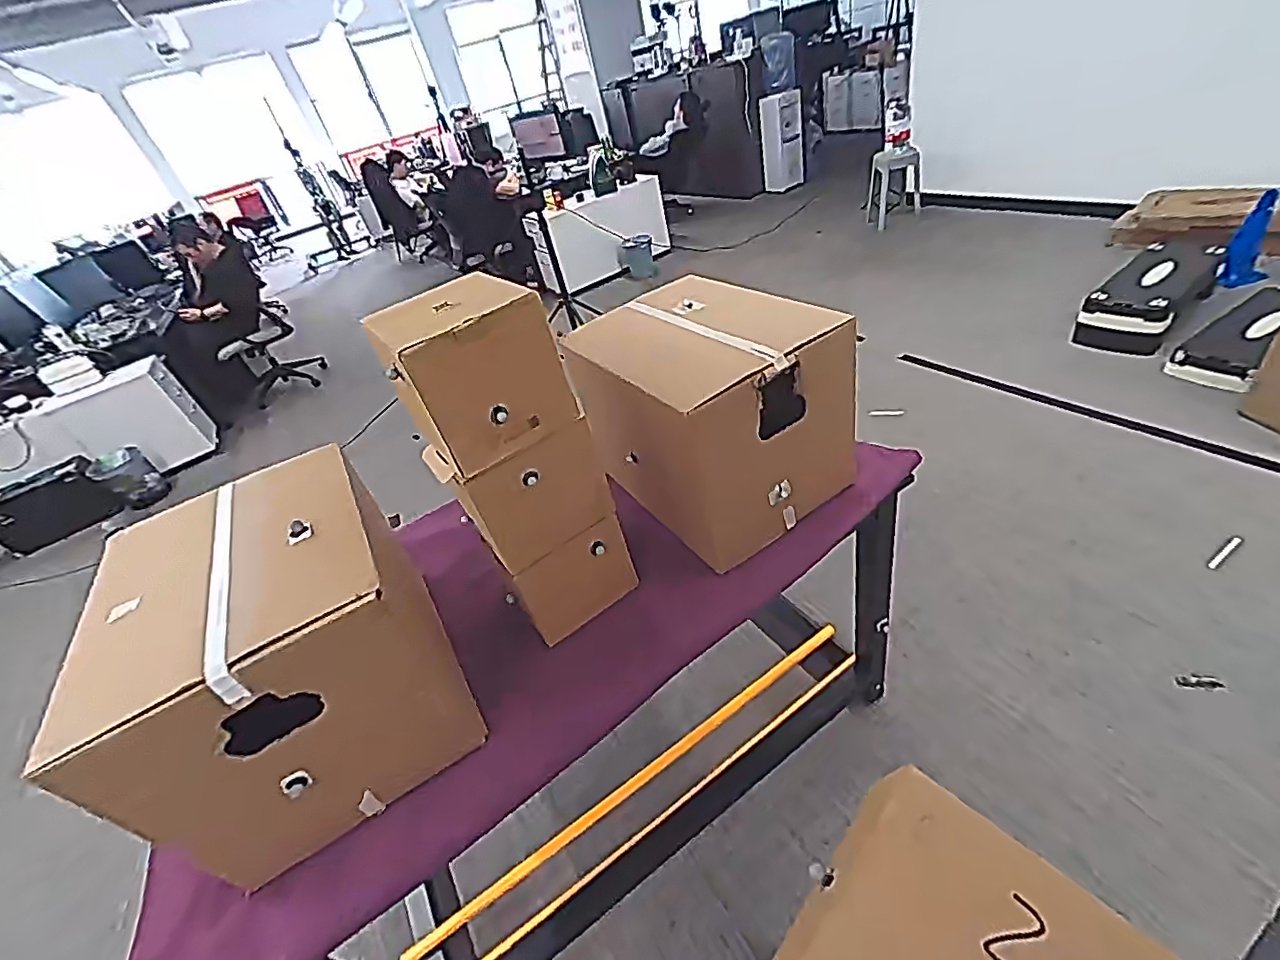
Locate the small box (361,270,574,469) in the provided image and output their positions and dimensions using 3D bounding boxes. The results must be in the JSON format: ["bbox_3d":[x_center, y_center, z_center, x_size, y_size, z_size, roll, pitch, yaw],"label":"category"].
[{"bbox_3d":[-0.207,-0.139,0.666,0.168,0.176,0.179,-33,41,-22],"label":"small box"}]

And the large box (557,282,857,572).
[{"bbox_3d":[0.116,-0.116,0.948,0.320,0.320,0.408,-30,38,-18],"label":"large box"}]
